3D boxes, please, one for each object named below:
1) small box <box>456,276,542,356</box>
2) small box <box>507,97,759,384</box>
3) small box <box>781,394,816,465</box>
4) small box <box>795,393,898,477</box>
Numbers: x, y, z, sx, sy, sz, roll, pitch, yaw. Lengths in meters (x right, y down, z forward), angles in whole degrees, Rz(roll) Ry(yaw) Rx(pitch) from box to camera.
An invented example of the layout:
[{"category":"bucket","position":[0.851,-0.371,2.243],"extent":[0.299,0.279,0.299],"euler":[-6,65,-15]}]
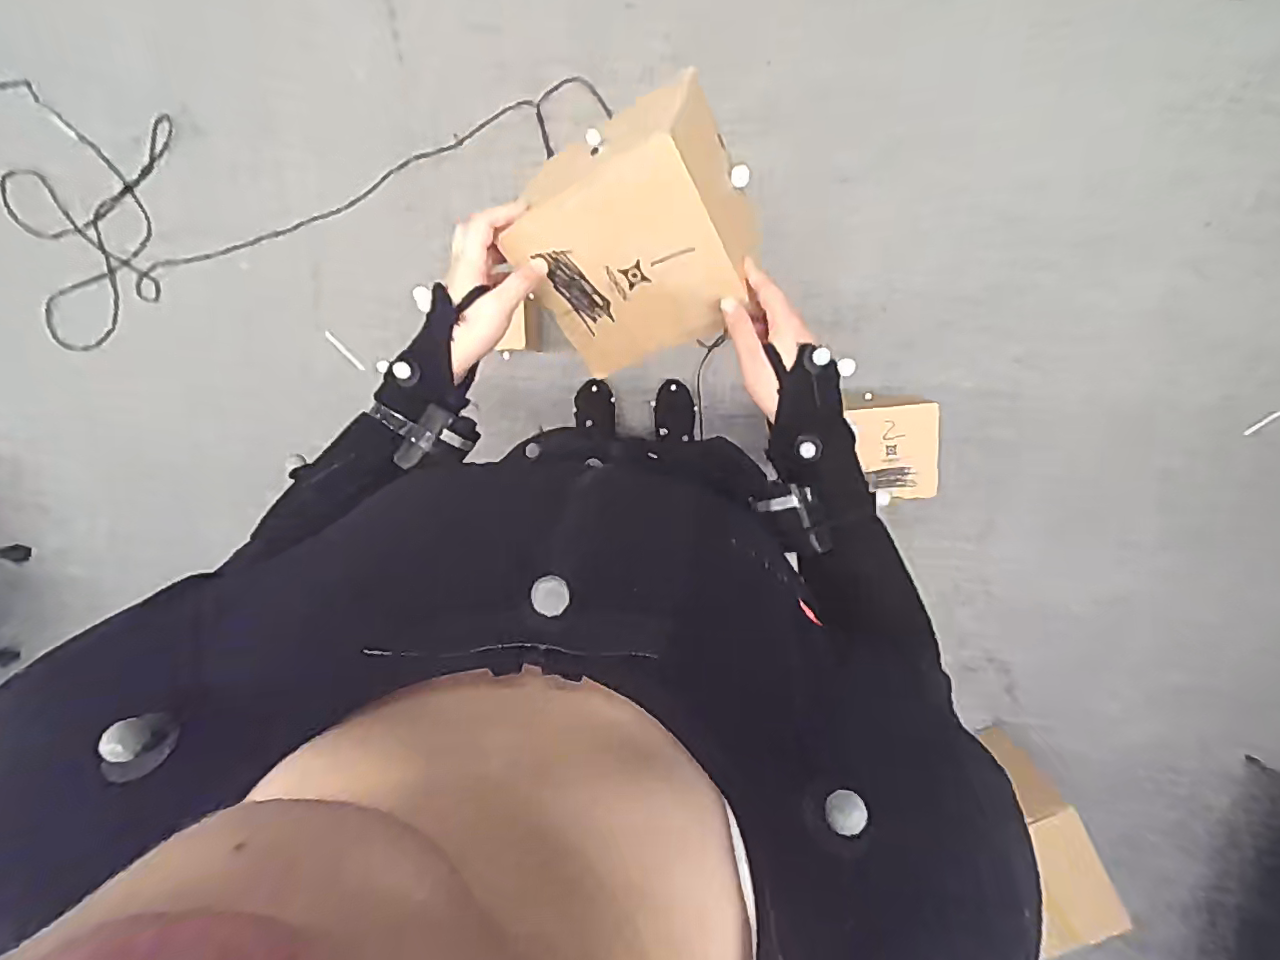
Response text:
[{"category":"small box","position":[-0.345,-0.404,1.350],"extent":[0.168,0.176,0.179],"euler":[0,102,3]},{"category":"small box","position":[0.007,-0.228,0.533],"extent":[0.179,0.176,0.168],"euler":[-14,134,29]},{"category":"small box","position":[0.462,-0.130,1.377],"extent":[0.179,0.176,0.168],"euler":[0,103,3]},{"category":"small box","position":[0.454,-0.105,1.215],"extent":[0.179,0.176,0.168],"euler":[-2,104,2]}]
